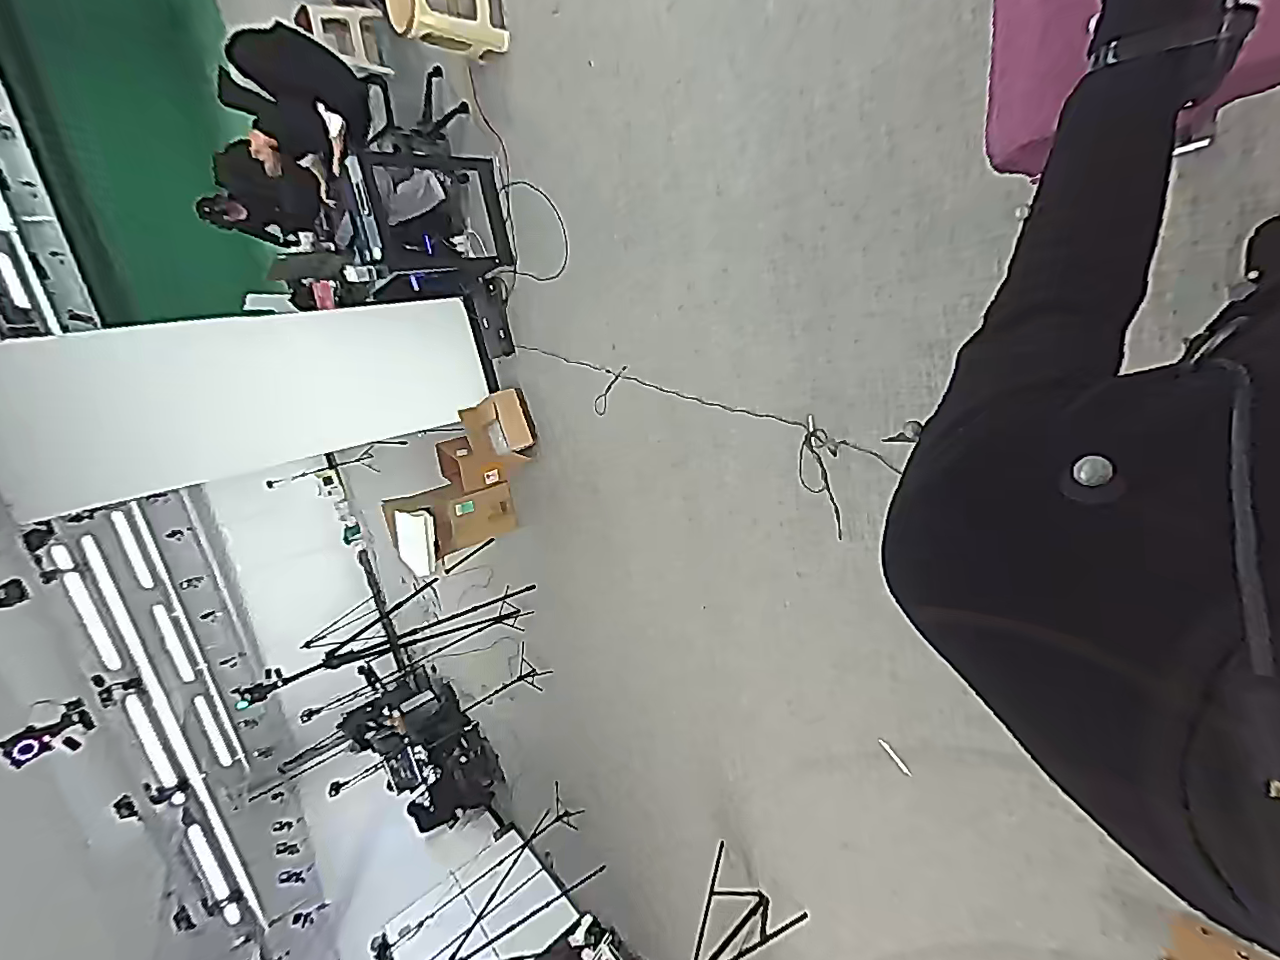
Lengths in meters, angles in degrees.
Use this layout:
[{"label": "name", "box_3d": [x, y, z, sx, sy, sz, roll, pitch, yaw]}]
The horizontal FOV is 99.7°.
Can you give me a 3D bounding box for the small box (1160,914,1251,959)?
[{"label": "small box", "box_3d": [1.499, 1.324, 1.435, 0.168, 0.176, 0.179, 12, 117, 50]}]
